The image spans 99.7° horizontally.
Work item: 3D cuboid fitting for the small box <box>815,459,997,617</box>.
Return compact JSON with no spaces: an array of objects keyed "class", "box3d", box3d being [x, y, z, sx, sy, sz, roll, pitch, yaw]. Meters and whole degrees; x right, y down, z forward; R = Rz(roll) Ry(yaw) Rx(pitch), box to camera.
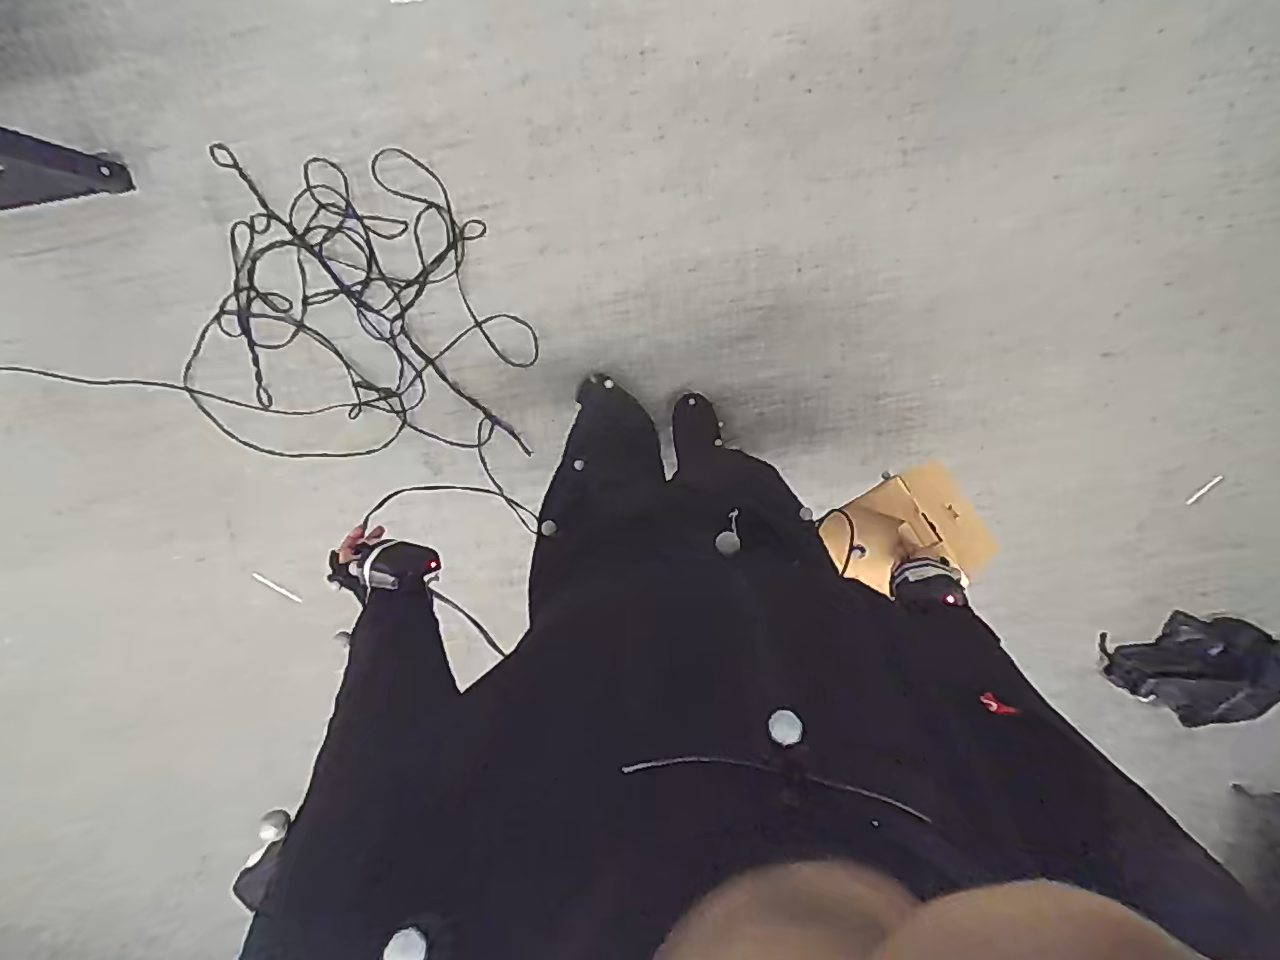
[{"class":"small box","box3d":[0.402,0.088,0.832,0.176,0.179,0.168,-40,72,41]}]
